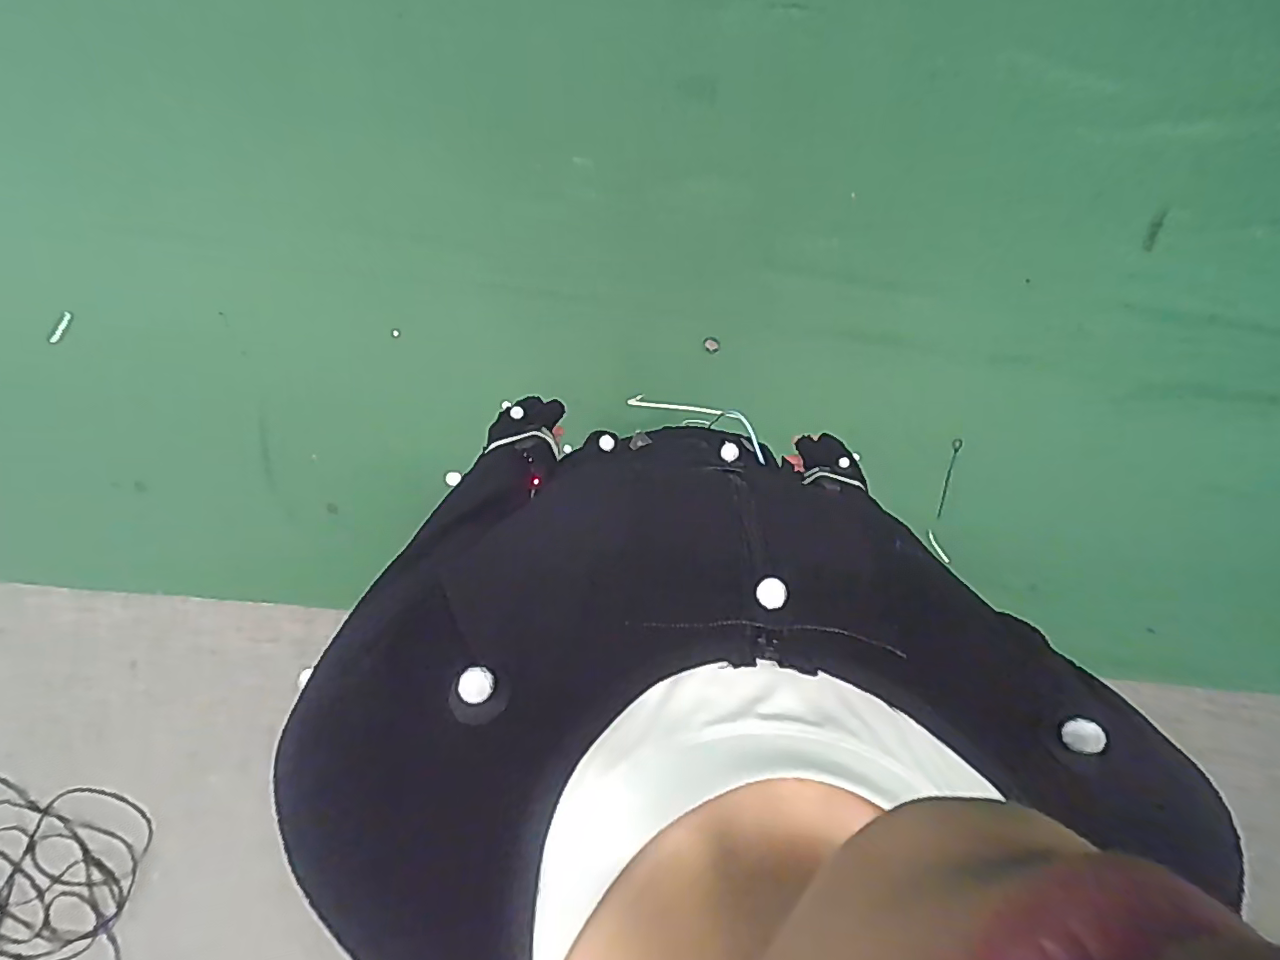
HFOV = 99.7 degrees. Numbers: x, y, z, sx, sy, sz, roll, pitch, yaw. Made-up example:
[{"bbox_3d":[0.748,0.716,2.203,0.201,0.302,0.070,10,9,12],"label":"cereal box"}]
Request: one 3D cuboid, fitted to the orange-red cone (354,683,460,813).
[{"bbox_3d":[-0.604,0.690,1.347,0.198,0.360,0.199,6,96,-2],"label":"orange-red cone"}]
